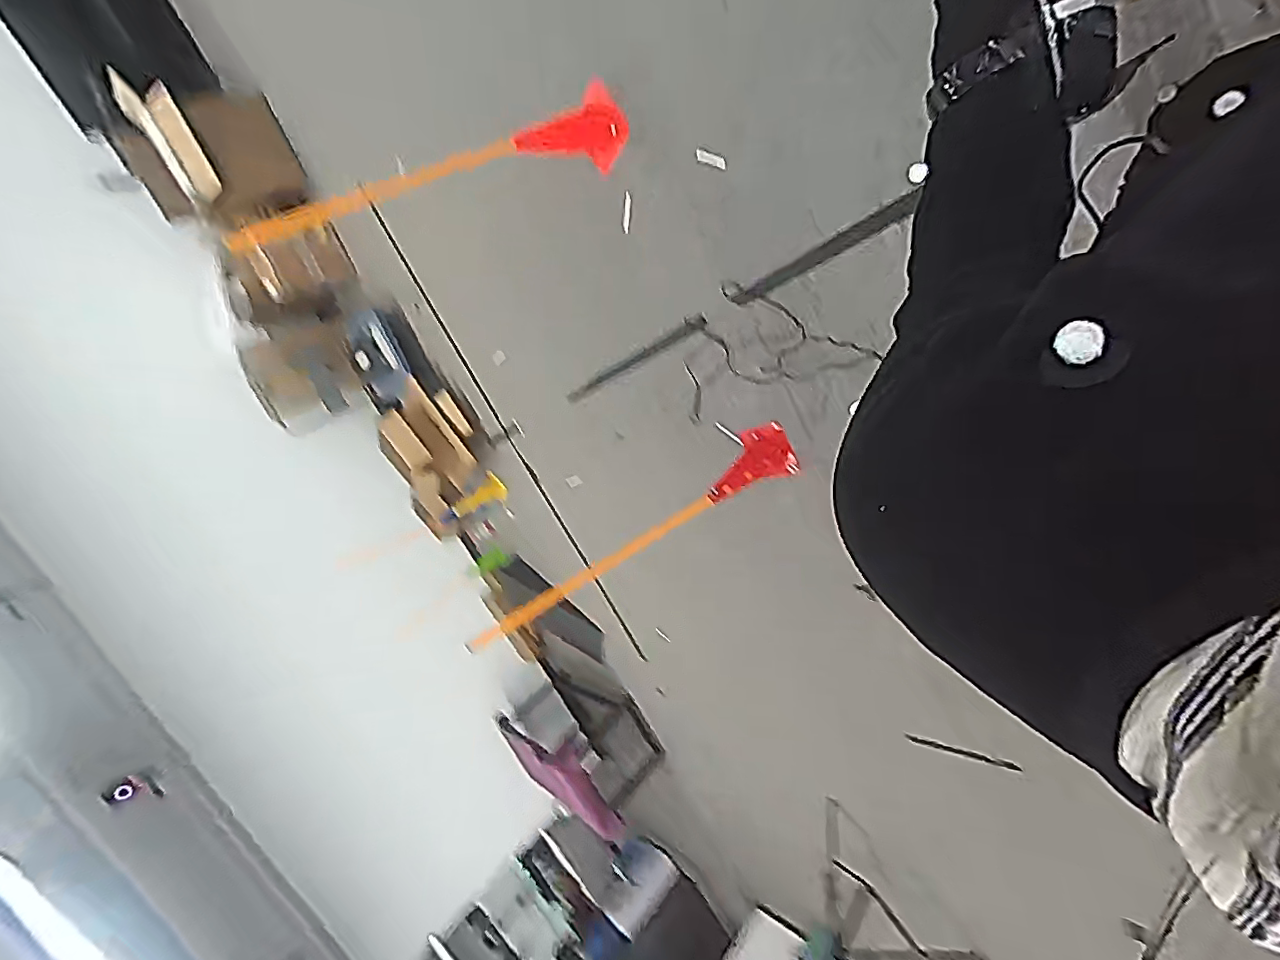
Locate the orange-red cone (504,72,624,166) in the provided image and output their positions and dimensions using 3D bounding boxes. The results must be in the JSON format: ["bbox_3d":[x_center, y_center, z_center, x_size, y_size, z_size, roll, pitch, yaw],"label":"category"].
[{"bbox_3d":[-0.259,-1.074,1.643,0.199,0.360,0.198,57,146,-2],"label":"orange-red cone"}]
